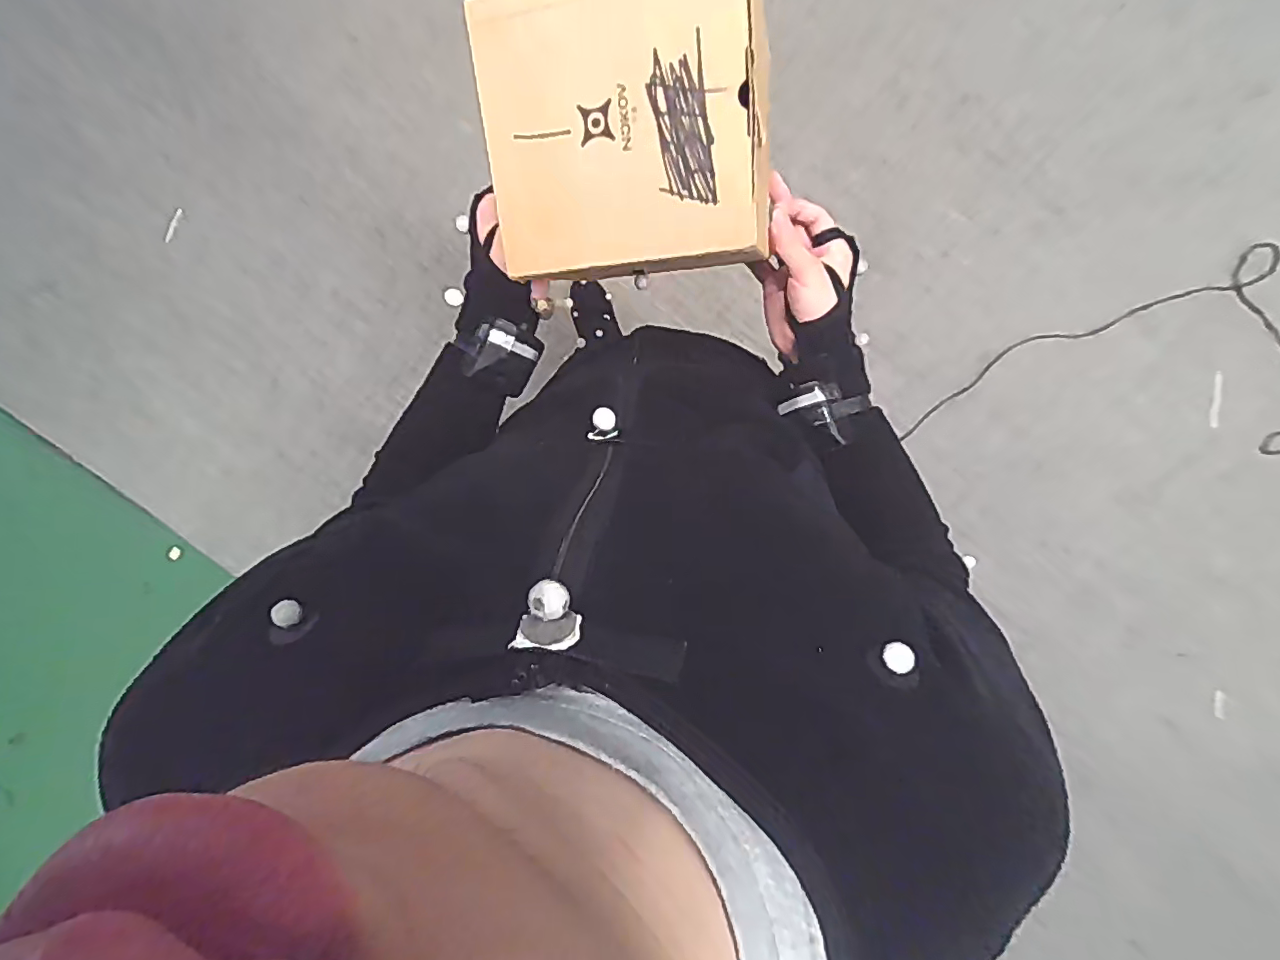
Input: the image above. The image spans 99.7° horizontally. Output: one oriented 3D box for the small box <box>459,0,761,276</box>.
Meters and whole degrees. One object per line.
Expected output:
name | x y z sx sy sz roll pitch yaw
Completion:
small box | -0.001 -0.249 0.406 0.179 0.176 0.168 0 108 17
